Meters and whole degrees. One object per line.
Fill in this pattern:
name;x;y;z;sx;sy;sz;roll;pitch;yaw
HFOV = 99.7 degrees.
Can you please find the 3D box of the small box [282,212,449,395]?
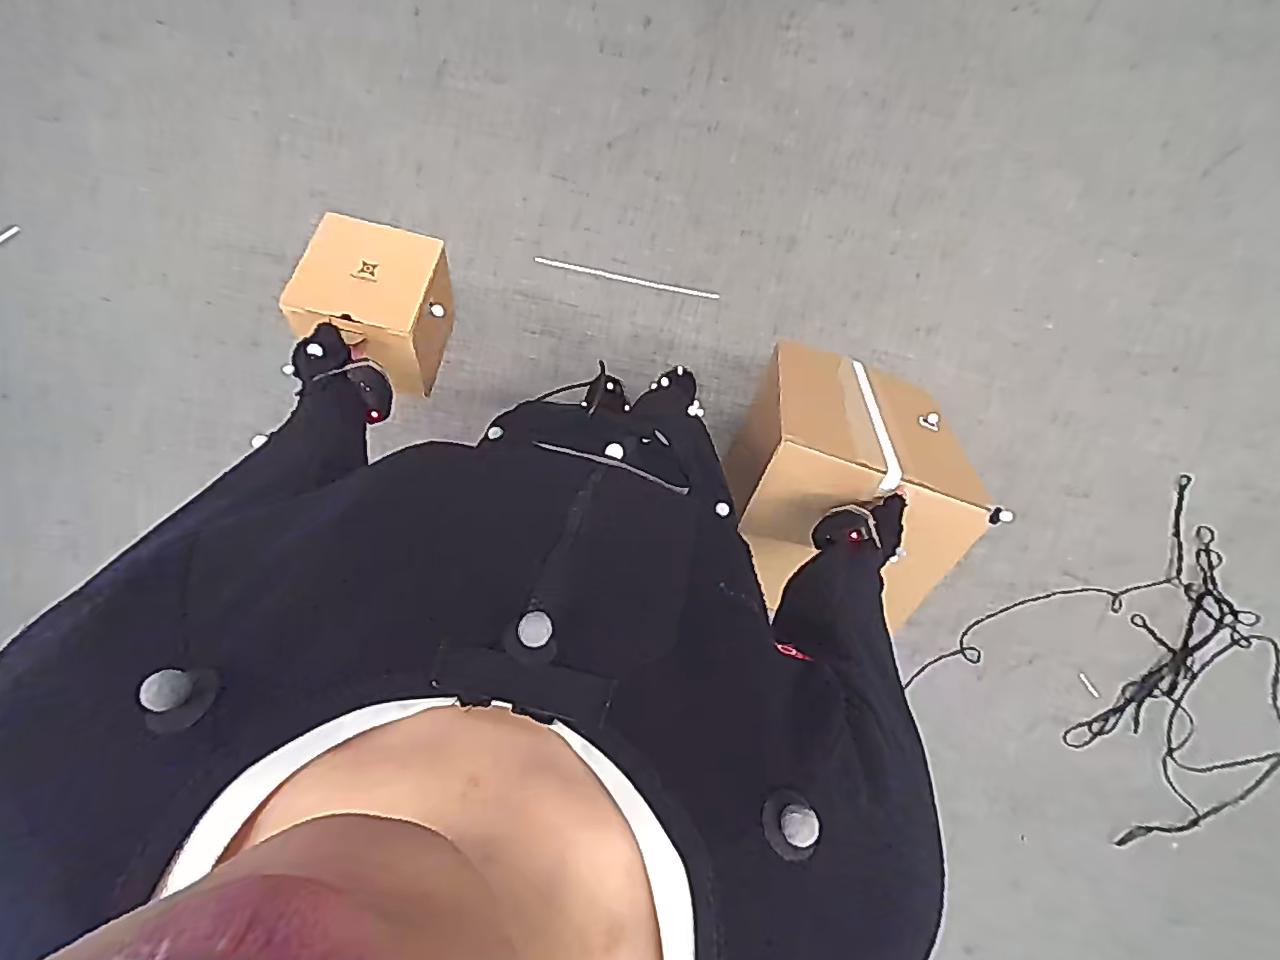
small box;-0.395;-0.258;0.817;0.168;0.176;0.179;11;67;-9
